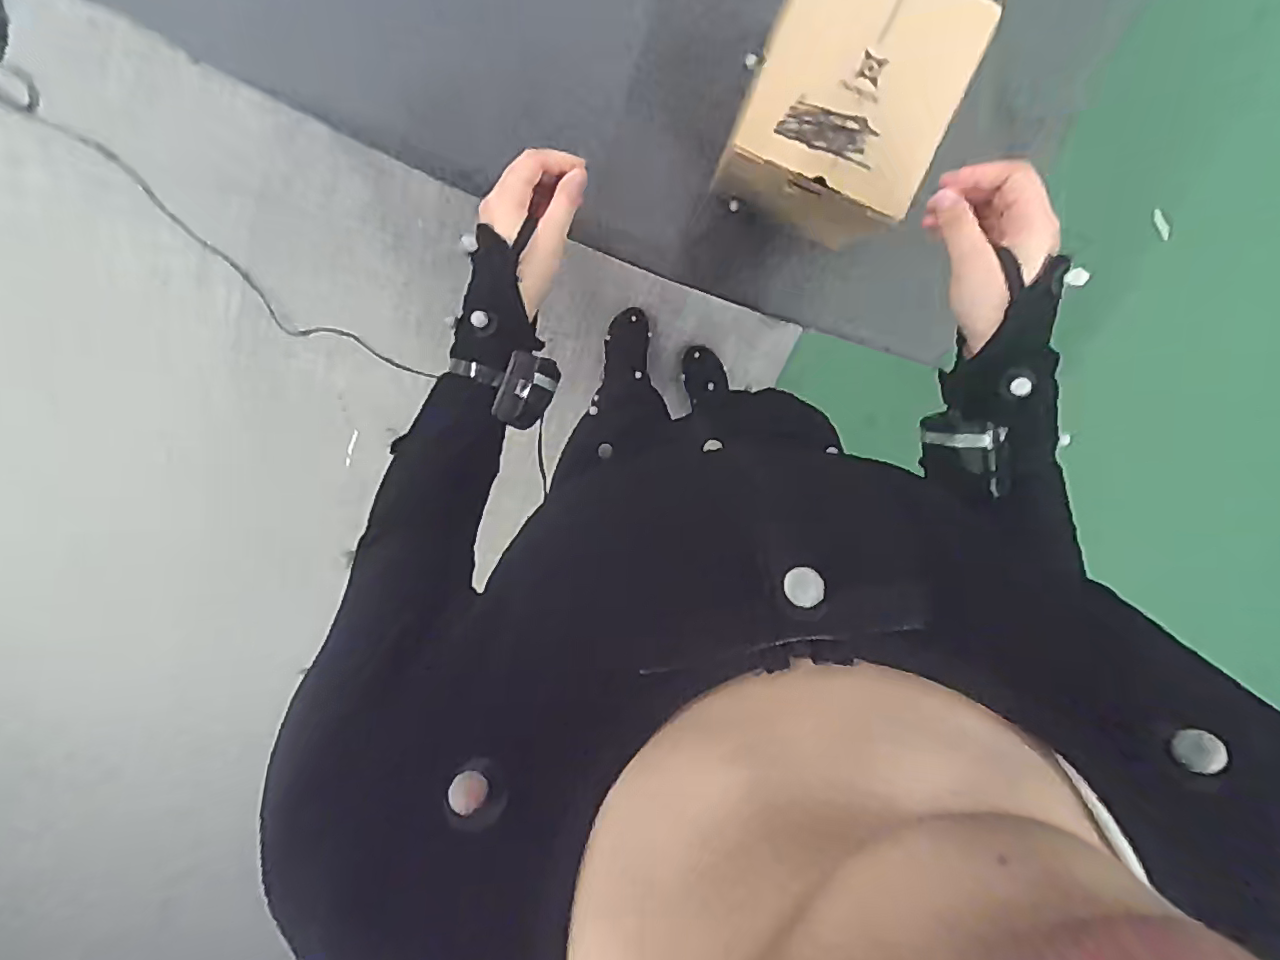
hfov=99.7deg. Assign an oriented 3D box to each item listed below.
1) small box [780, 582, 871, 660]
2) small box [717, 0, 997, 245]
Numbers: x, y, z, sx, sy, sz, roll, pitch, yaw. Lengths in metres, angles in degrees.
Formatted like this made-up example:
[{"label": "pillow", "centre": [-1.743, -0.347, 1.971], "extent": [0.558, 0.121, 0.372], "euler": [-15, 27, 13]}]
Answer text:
[{"label": "small box", "centre": [0.524, 0.421, 1.560], "extent": [0.168, 0.176, 0.179], "euler": [21, 107, -6]}, {"label": "small box", "centre": [0.186, -0.352, 0.529], "extent": [0.168, 0.176, 0.179], "euler": [22, 104, -6]}]
